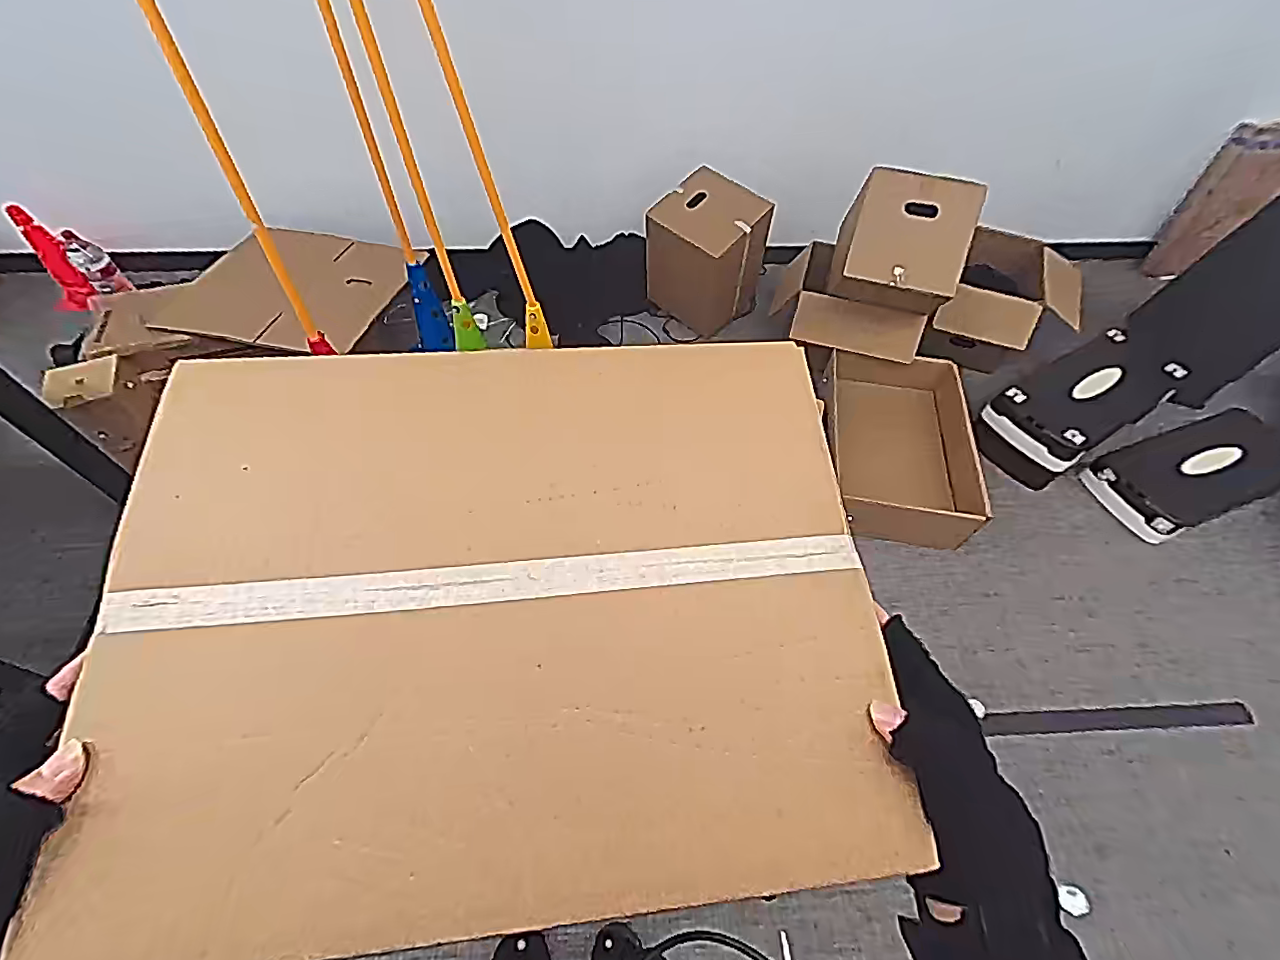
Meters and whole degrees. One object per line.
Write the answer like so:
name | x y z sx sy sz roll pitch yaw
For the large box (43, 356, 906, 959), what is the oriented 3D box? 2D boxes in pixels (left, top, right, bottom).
large box | -0.085 0.124 0.443 0.408 0.320 0.320 -4 66 -6
